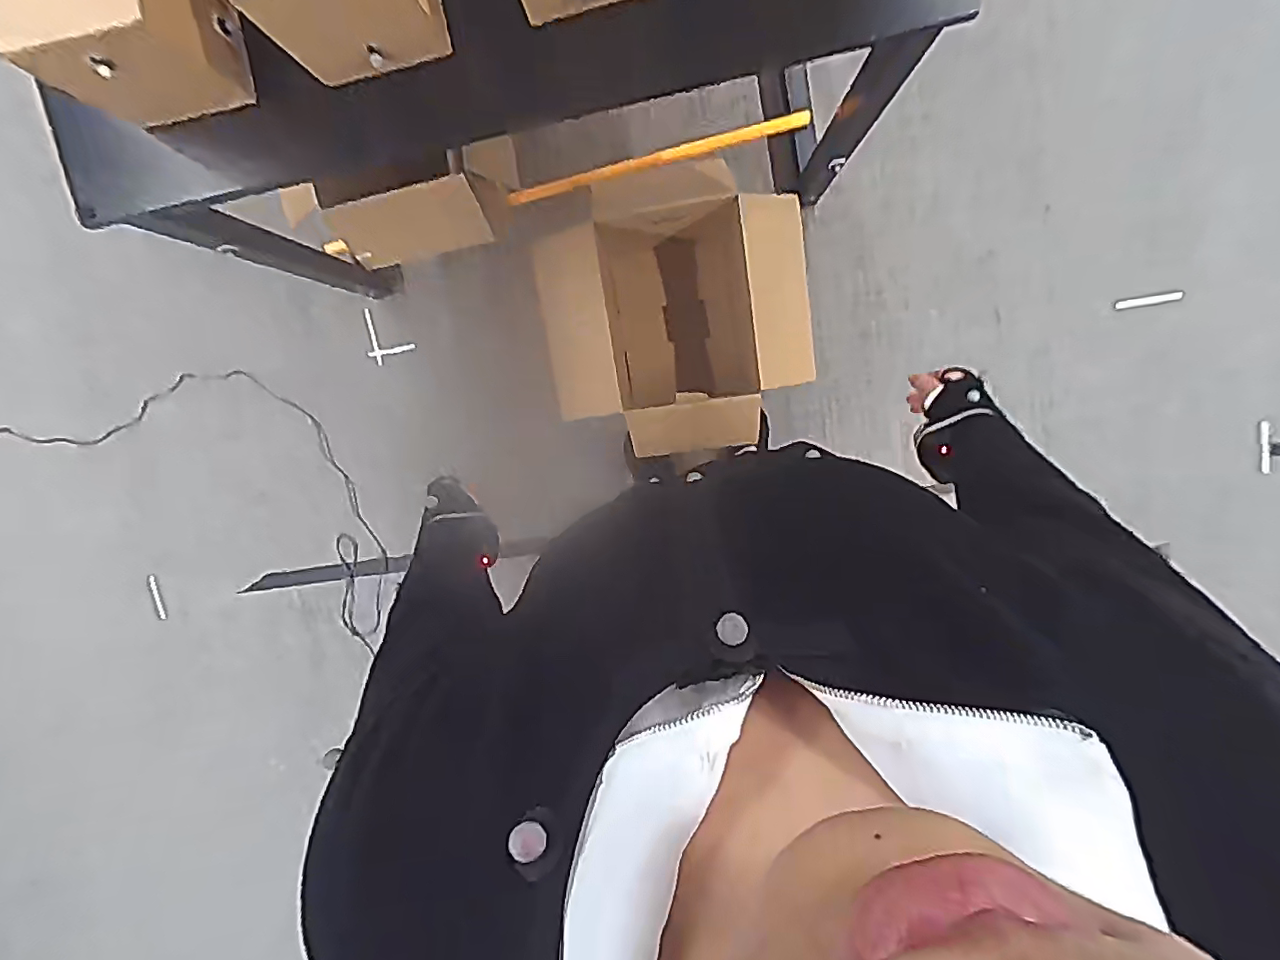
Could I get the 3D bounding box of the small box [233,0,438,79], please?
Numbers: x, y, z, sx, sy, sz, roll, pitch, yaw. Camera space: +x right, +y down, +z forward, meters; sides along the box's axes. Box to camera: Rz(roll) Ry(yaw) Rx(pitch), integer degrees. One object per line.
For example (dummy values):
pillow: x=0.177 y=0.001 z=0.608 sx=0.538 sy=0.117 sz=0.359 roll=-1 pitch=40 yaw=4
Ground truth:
small box: x=-0.343 y=-0.590 z=0.595 sx=0.179 sy=0.176 sz=0.168 roll=-12 pitch=98 yaw=4

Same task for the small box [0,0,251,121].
small box: x=-0.602 y=-0.546 z=0.618 sx=0.179 sy=0.176 sz=0.168 roll=-8 pitch=99 yaw=4

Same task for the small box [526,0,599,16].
small box: x=-0.080 y=-0.653 z=0.567 sx=0.168 sy=0.176 sz=0.179 roll=-12 pitch=99 yaw=6
